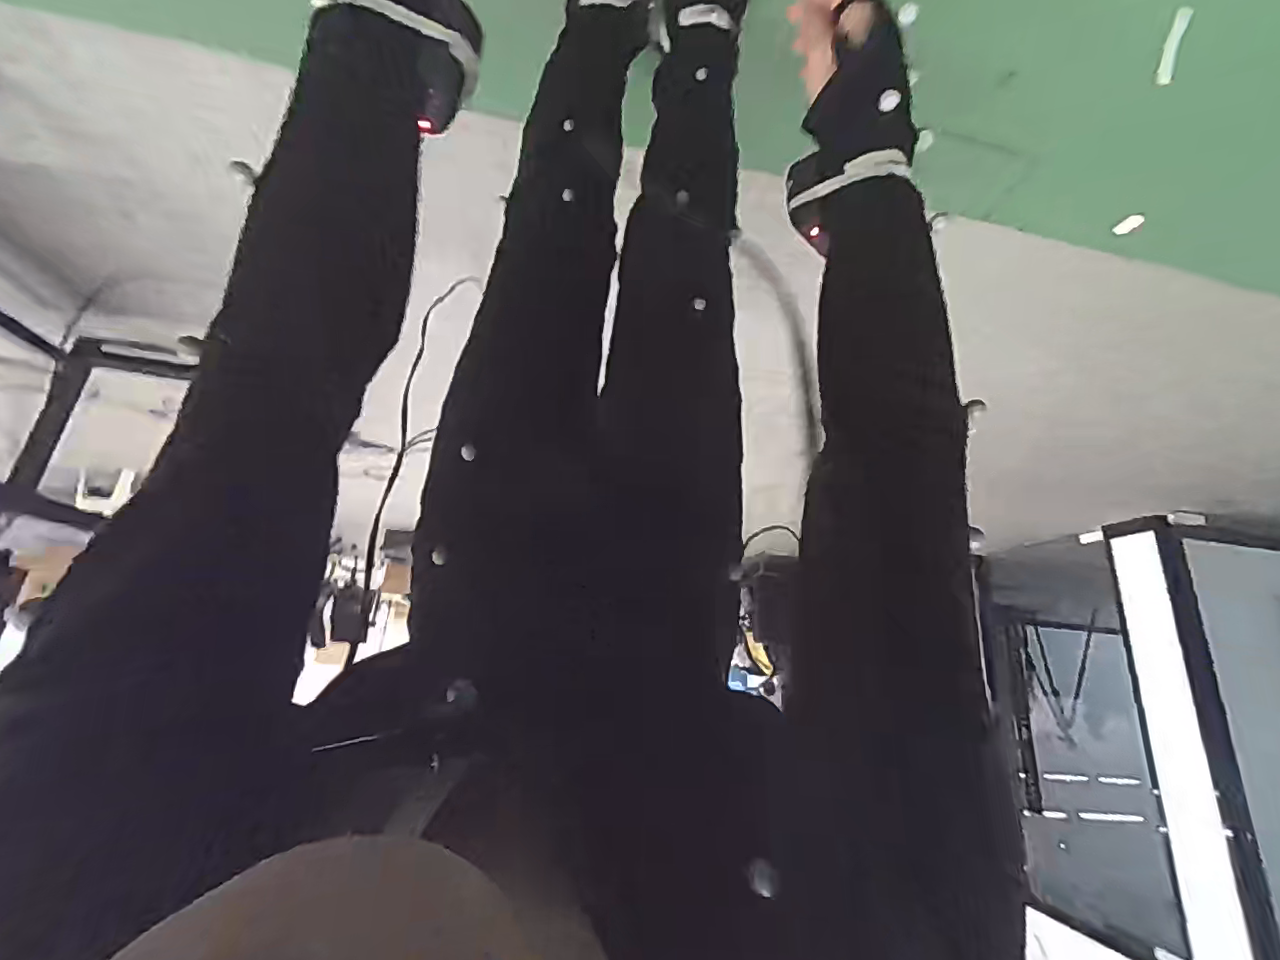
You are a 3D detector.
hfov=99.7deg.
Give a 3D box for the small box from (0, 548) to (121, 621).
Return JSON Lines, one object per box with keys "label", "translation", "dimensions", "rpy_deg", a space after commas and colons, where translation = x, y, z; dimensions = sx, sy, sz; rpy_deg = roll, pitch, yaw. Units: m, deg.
{"label": "small box", "translation": [-1.585, 0.285, 1.468], "dimensions": [0.179, 0.176, 0.168], "rpy_deg": [9, 161, -13]}
